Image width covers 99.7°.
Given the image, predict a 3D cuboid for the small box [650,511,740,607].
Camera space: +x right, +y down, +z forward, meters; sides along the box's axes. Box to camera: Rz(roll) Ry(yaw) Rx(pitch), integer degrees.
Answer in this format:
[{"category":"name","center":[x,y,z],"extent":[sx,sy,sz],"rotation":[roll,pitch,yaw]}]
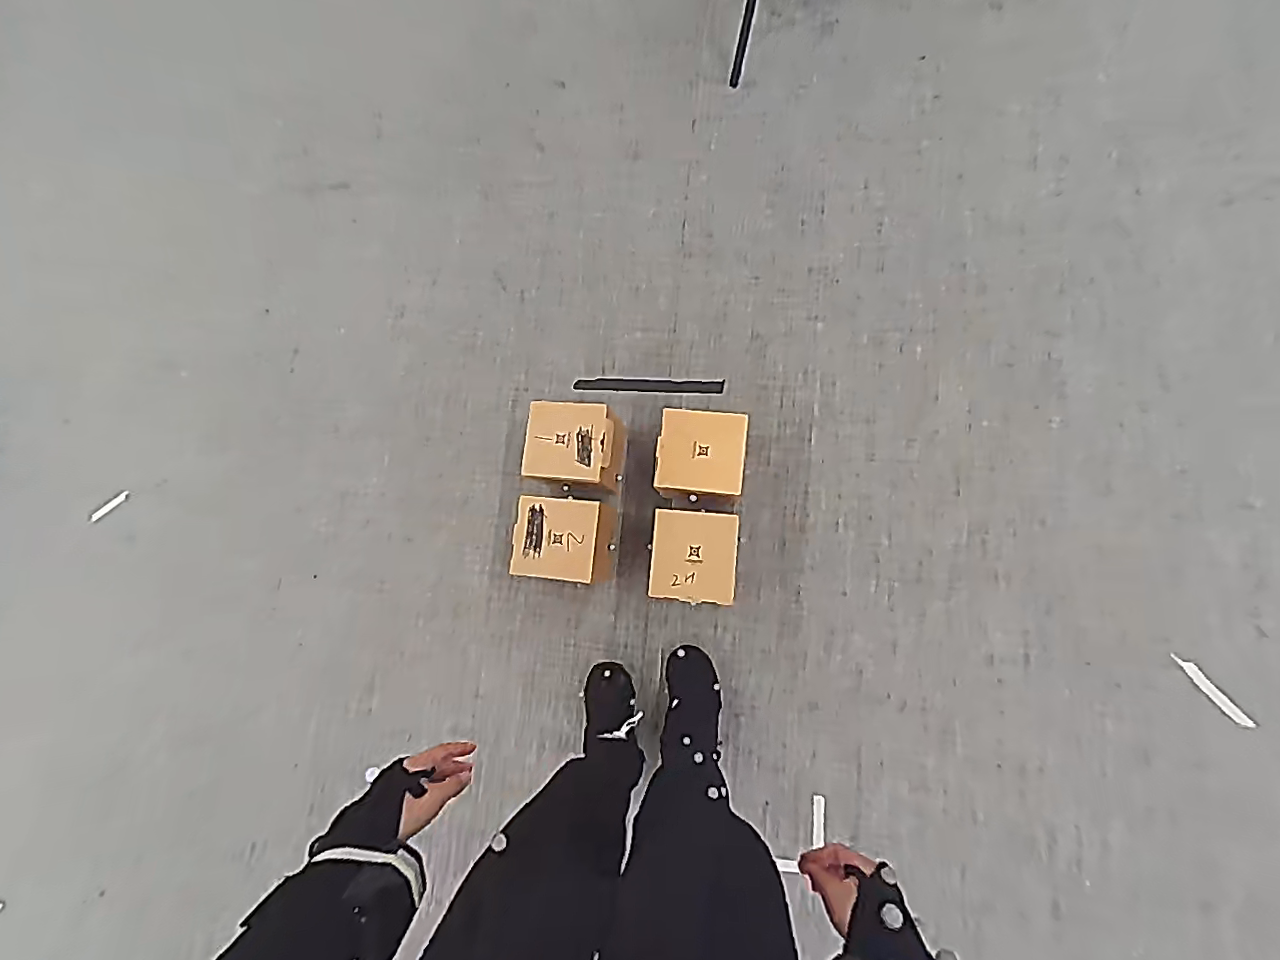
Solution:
[{"category":"small box","center":[0.121,0.165,1.136],"extent":[0.168,0.176,0.179],"rotation":[4,82,11]}]
